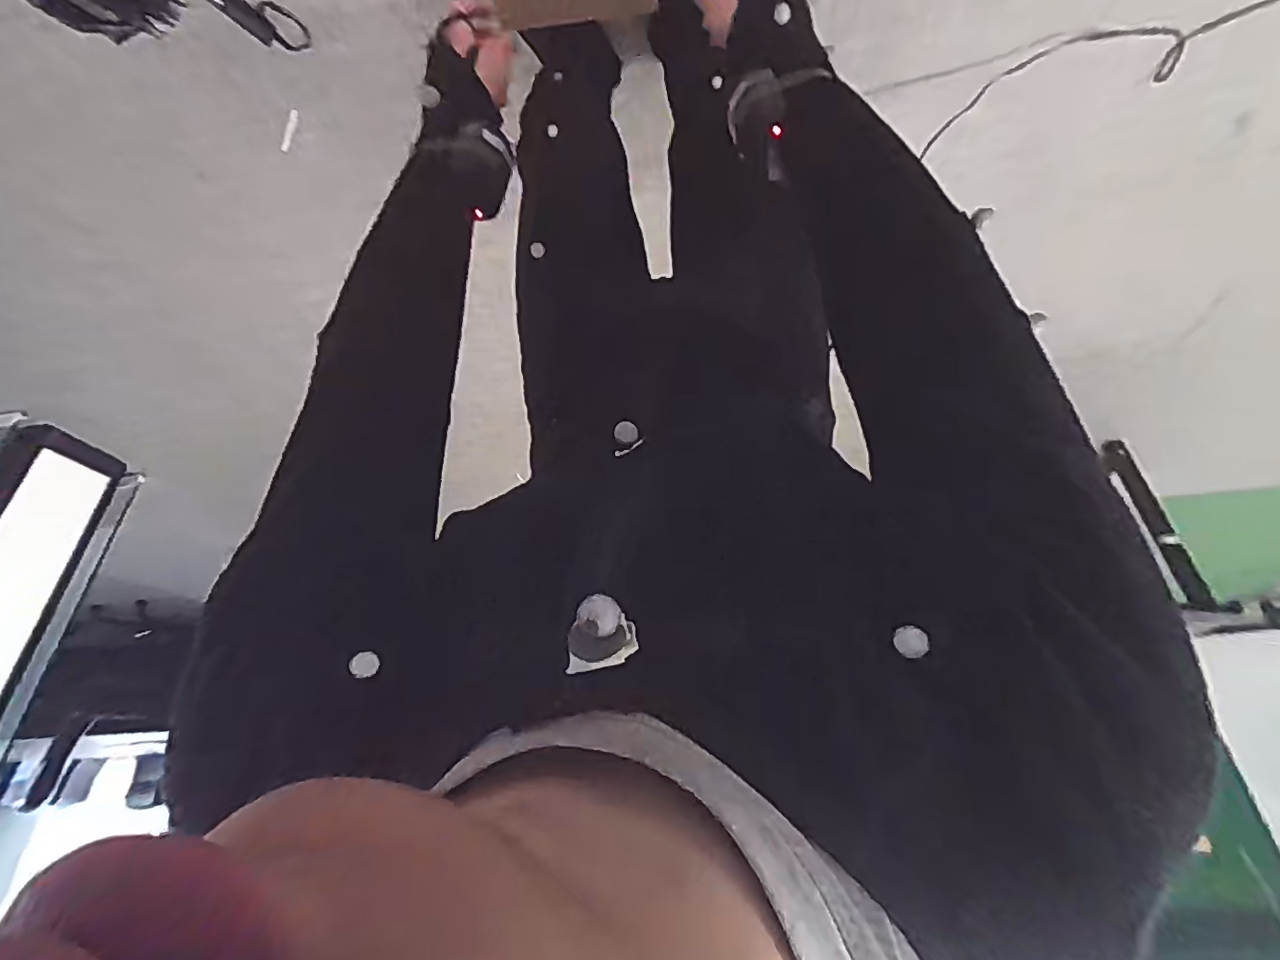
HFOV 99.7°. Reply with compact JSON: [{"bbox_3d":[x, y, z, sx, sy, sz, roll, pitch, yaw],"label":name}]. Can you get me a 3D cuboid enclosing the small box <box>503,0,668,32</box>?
[{"bbox_3d":[-0.064,-0.580,0.518,0.168,0.176,0.179,-4,151,4],"label":"small box"}]
